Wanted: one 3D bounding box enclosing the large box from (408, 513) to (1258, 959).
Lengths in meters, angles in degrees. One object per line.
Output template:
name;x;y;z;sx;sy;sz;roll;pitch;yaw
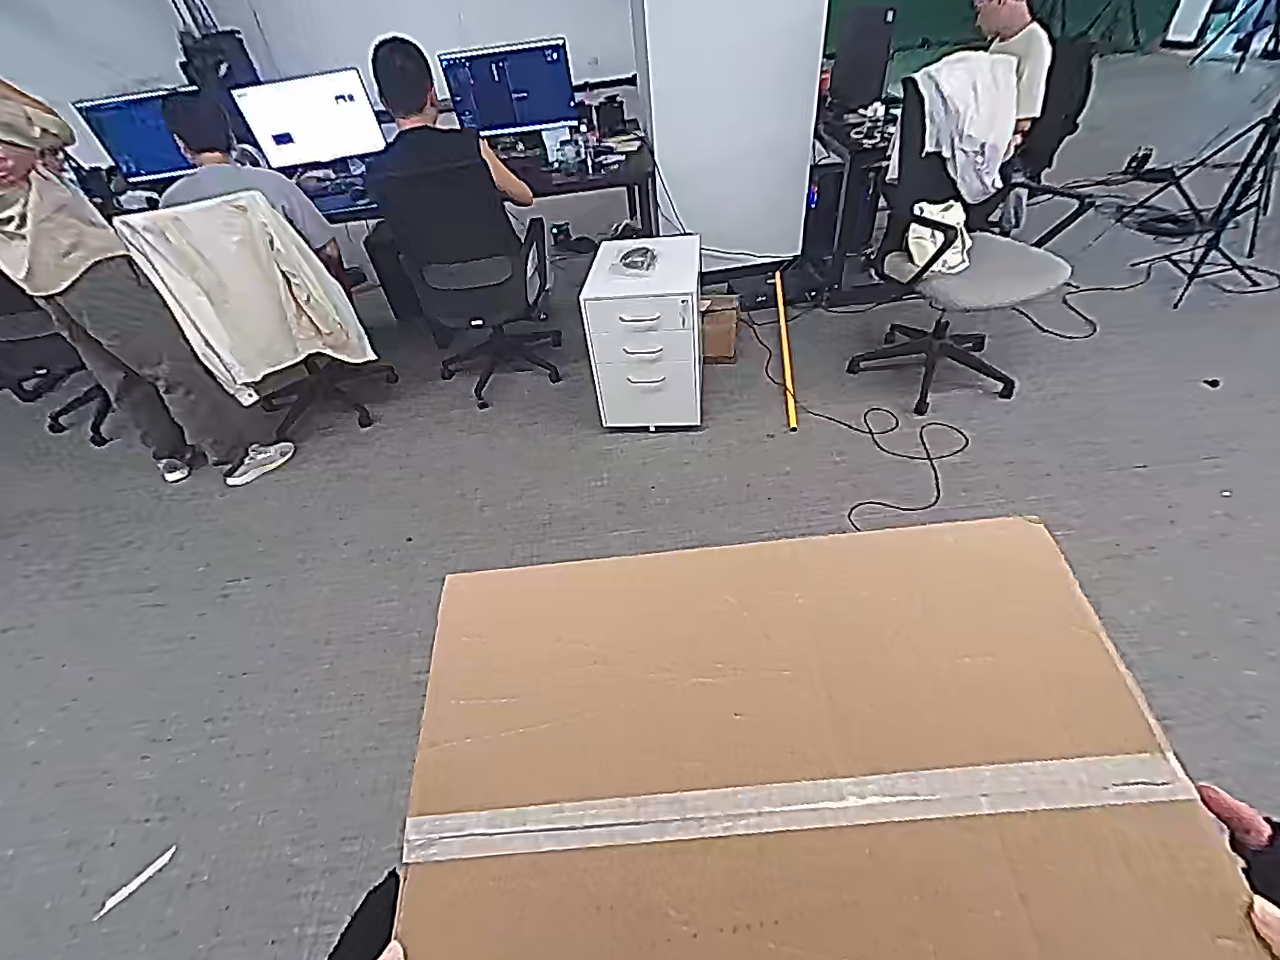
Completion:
large box;0.089;0.256;0.420;0.408;0.320;0.320;-7;56;3
